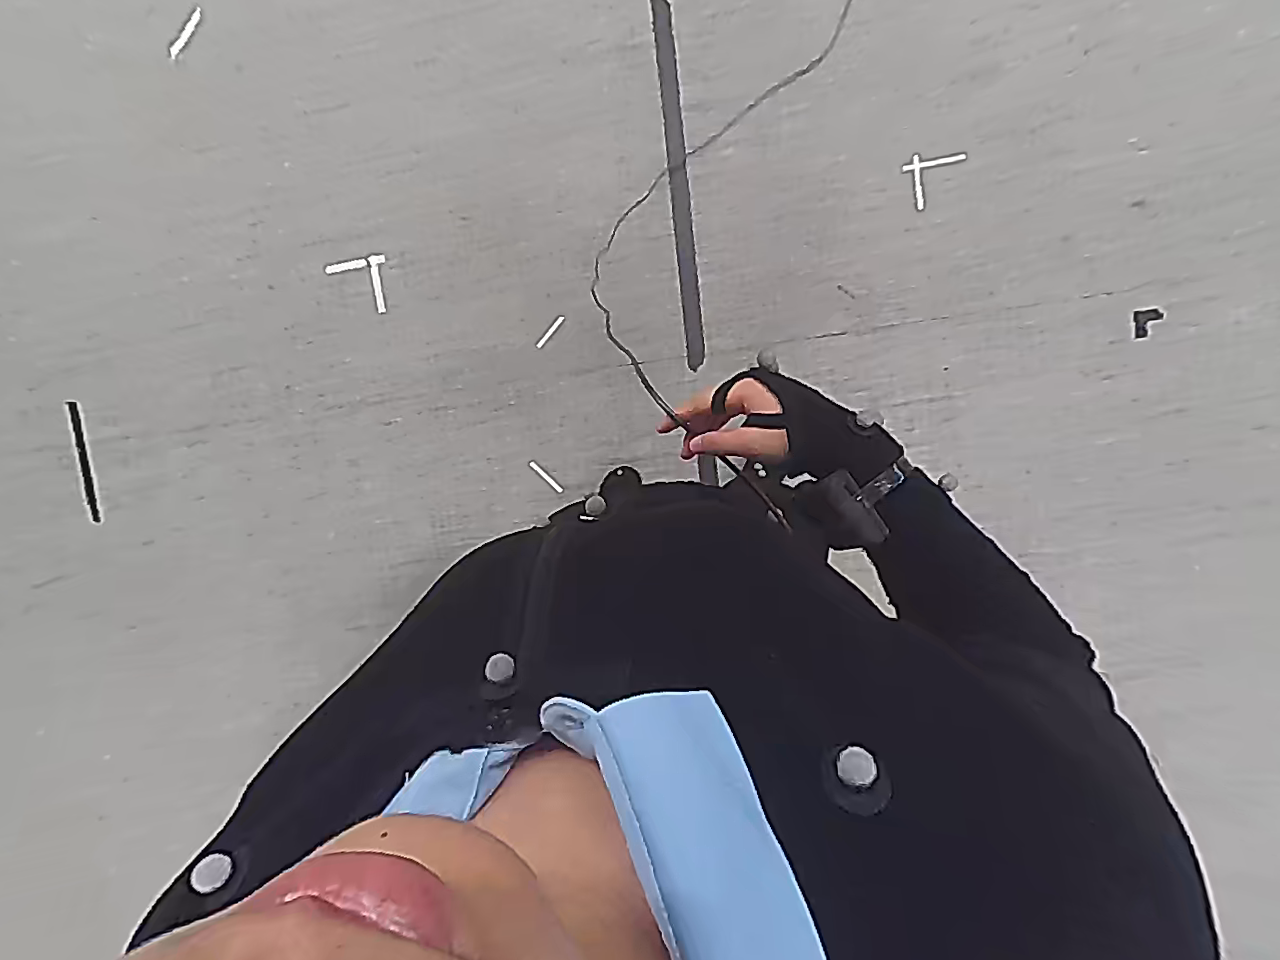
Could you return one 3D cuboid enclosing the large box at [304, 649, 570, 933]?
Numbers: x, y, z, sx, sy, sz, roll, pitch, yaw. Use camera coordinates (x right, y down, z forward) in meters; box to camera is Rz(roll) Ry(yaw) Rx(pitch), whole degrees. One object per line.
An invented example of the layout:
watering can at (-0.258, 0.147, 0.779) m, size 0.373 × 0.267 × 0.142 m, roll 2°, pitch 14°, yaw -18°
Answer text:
large box at (-0.431, 0.675, 1.236) m, size 0.408 × 0.320 × 0.320 m, roll 45°, pitch 95°, yaw 2°
